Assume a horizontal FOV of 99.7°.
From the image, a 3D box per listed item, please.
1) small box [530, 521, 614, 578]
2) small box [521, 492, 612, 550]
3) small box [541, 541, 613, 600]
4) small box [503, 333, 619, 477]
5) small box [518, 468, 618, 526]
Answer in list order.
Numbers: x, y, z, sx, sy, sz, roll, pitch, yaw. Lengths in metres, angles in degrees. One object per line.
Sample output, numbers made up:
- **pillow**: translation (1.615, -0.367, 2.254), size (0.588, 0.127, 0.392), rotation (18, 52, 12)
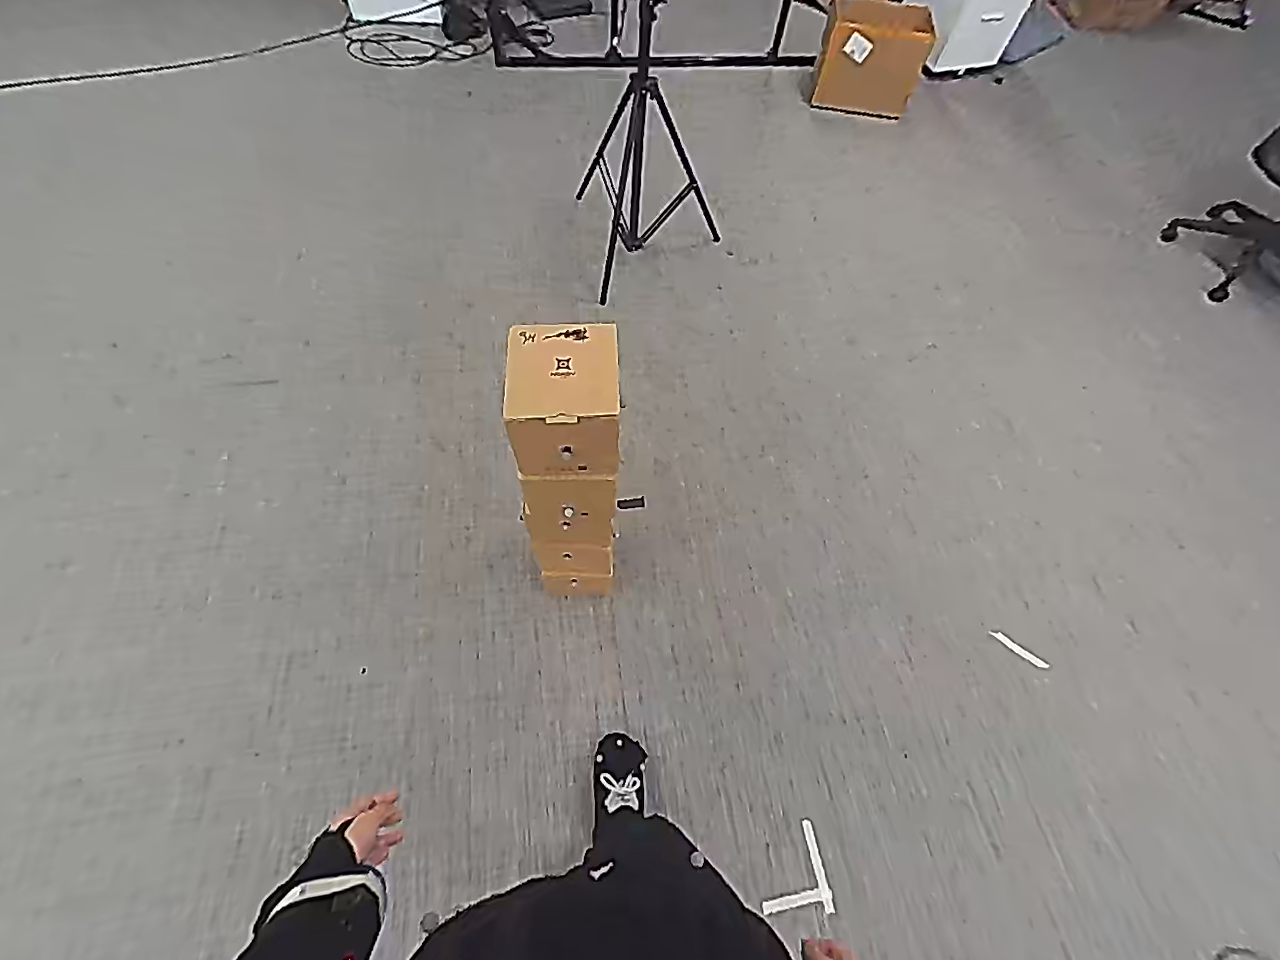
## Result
- **small box**: translation (-0.155, 0.130, 1.293), size (0.179, 0.176, 0.168), rotation (4, 62, -1)
- **small box**: translation (-0.147, 0.047, 1.155), size (0.179, 0.176, 0.168), rotation (1, 63, -3)
- **small box**: translation (-0.162, 0.215, 1.434), size (0.179, 0.176, 0.168), rotation (1, 62, -3)
- **small box**: translation (-0.118, -0.112, 0.869), size (0.168, 0.176, 0.179), rotation (-1, 63, -4)
- **small box**: translation (-0.126, -0.028, 1.009), size (0.168, 0.176, 0.179), rotation (0, 63, -2)
